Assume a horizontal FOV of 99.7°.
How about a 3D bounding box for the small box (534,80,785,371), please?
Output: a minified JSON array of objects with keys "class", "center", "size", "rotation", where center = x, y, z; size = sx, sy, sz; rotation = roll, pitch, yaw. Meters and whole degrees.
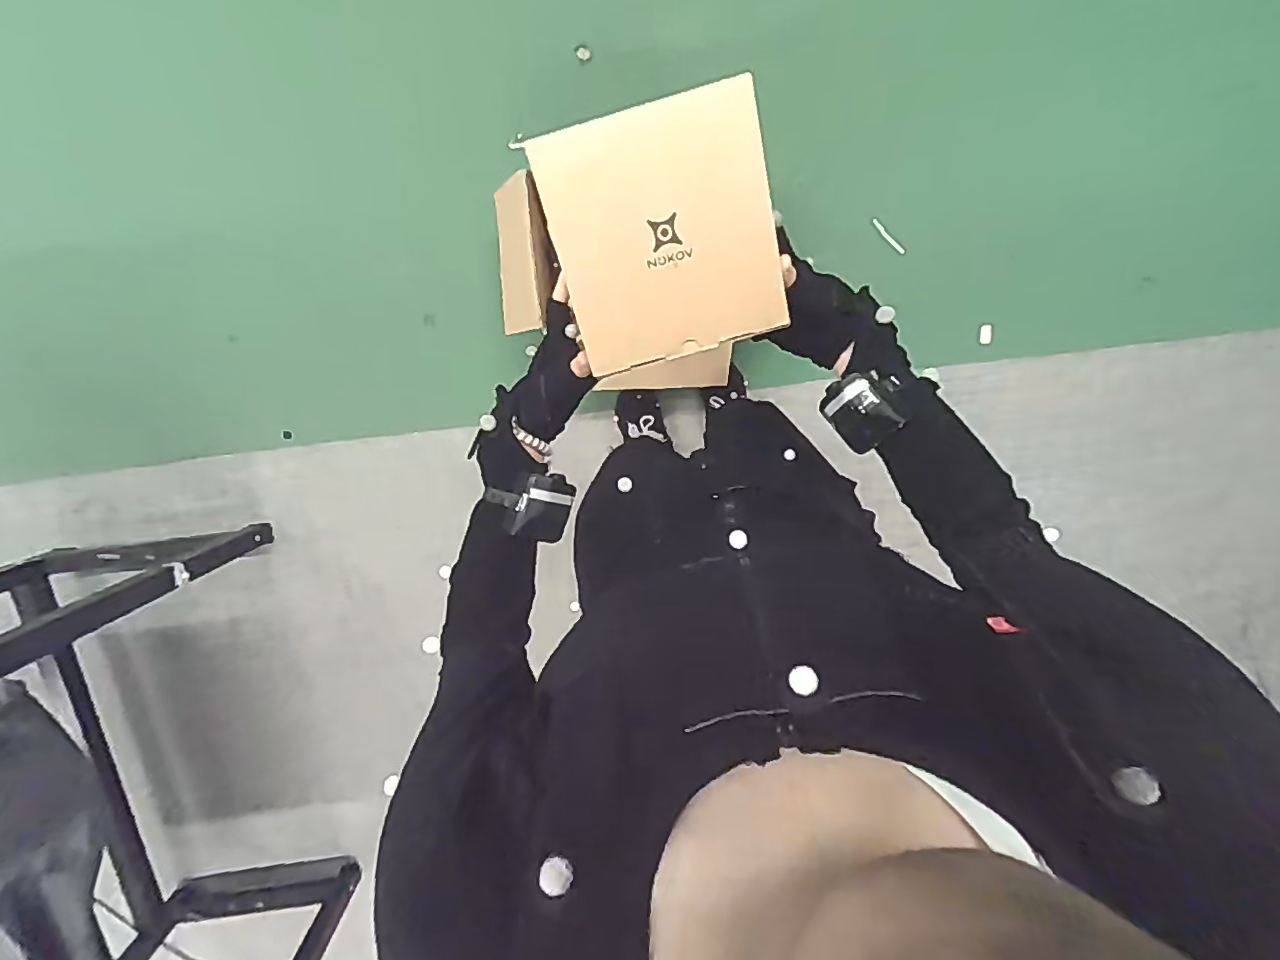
[{"class":"small box","center":[0.015,-0.215,0.489],"size":[0.168,0.176,0.179],"rotation":[-15,112,2]}]
